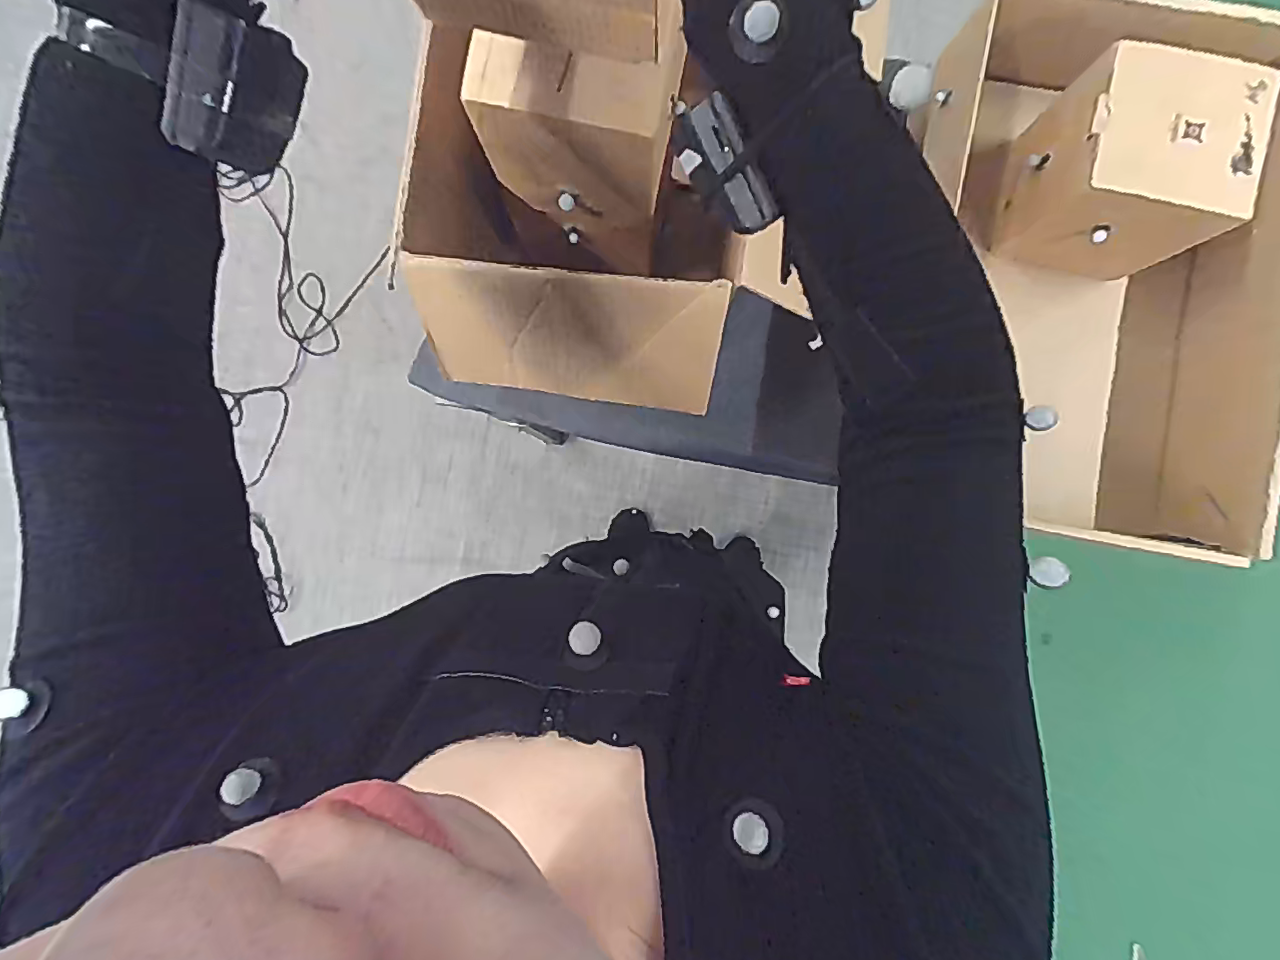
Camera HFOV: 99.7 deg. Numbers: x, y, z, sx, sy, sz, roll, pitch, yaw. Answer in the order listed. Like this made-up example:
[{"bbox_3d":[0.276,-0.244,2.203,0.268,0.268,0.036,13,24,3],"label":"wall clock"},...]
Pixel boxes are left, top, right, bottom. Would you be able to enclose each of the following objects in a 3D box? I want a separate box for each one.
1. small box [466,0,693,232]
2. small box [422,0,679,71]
[{"bbox_3d":[-0.049,-0.379,0.531,0.168,0.176,0.179,12,91,0],"label":"small box"},{"bbox_3d":[-0.053,-0.377,0.302,0.179,0.176,0.168,13,93,0],"label":"small box"}]
